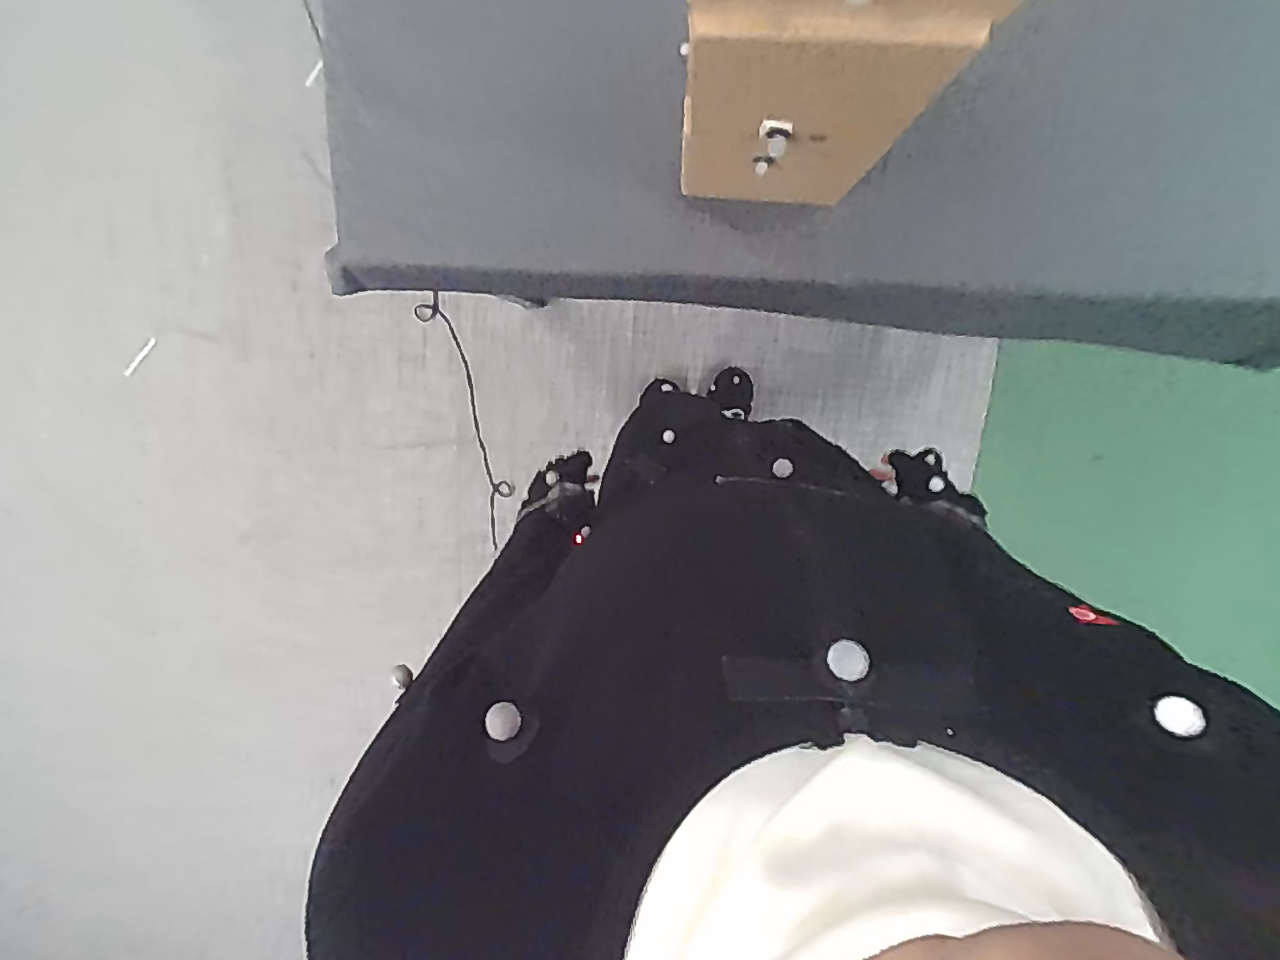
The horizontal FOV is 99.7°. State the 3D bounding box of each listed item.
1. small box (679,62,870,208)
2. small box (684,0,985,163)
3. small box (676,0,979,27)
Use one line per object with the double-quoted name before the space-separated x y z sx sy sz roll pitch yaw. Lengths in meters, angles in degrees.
"small box" 0.134 -0.378 0.523 0.179 0.176 0.168 6 102 3
"small box" 0.120 -0.344 0.366 0.168 0.176 0.179 5 103 6
"small box" 0.103 -0.315 0.206 0.179 0.176 0.168 6 102 5
